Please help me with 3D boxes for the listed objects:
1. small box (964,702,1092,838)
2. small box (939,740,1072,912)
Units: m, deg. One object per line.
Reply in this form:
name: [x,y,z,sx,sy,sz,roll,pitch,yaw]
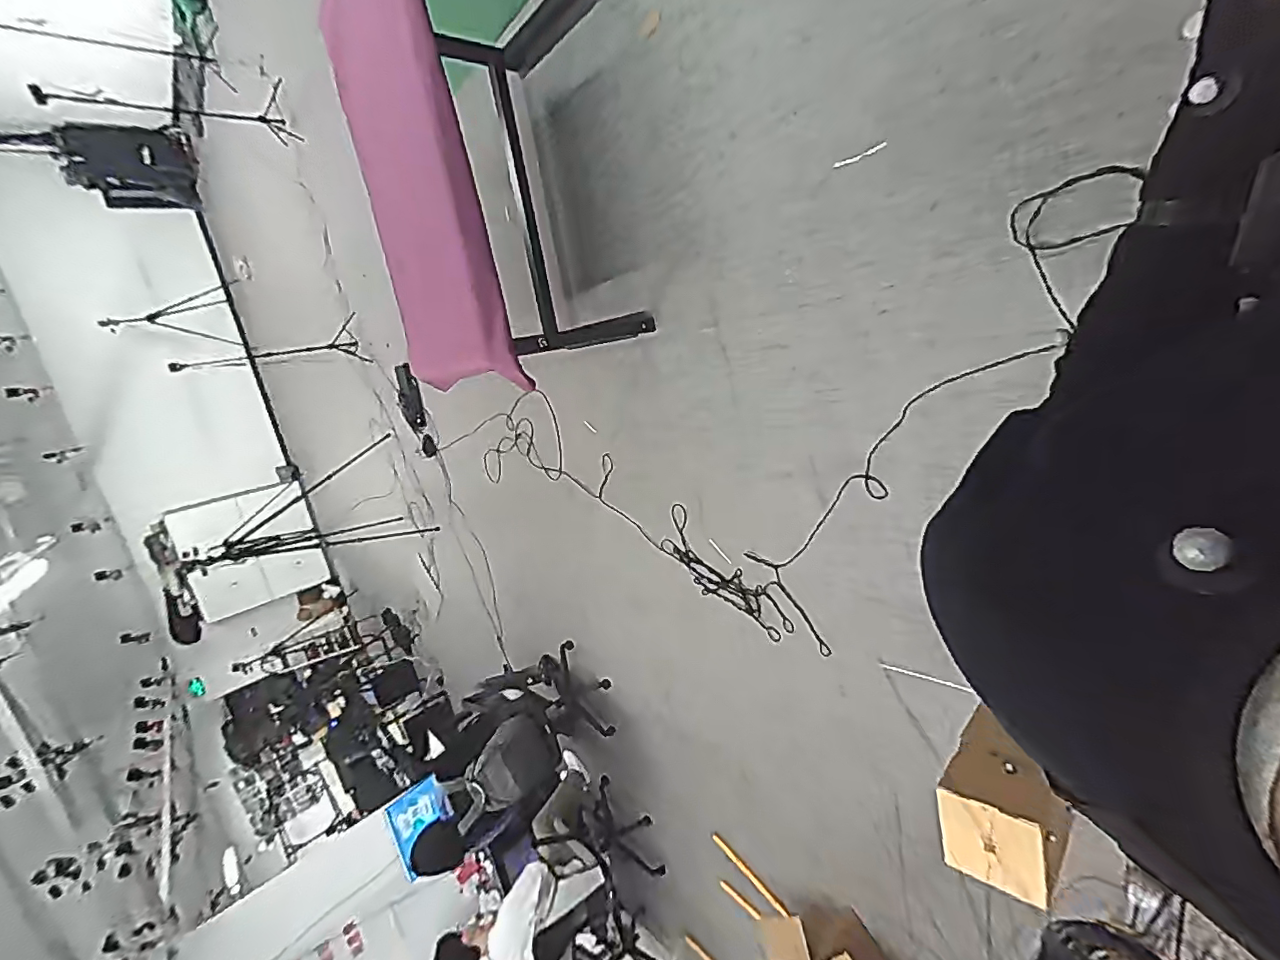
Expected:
small box: [0.807,0.592,1.124,0.179,0.176,0.168,0,106,50]
small box: [0.691,0.636,1.018,0.168,0.176,0.179,-1,104,49]
